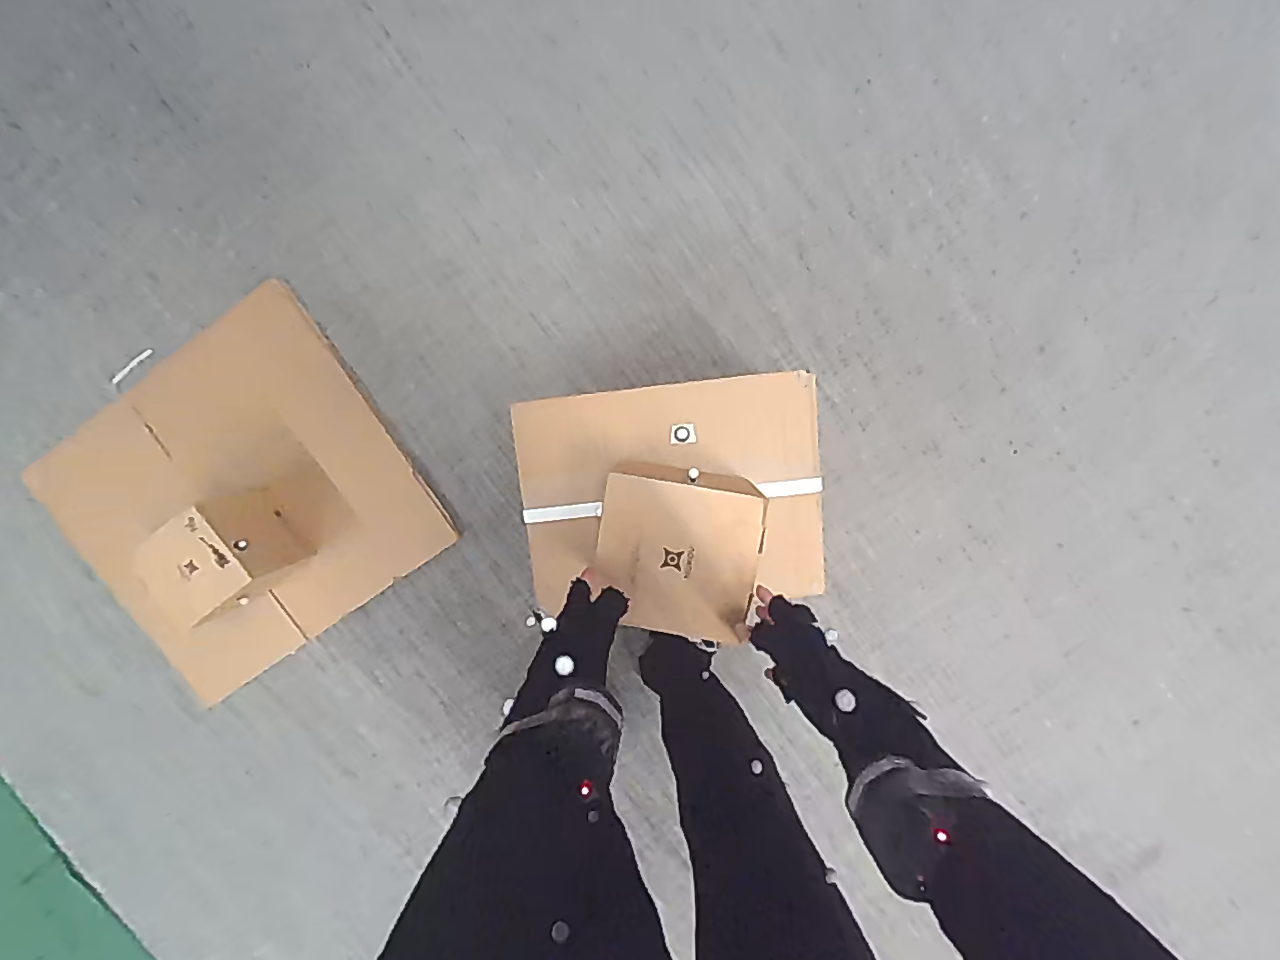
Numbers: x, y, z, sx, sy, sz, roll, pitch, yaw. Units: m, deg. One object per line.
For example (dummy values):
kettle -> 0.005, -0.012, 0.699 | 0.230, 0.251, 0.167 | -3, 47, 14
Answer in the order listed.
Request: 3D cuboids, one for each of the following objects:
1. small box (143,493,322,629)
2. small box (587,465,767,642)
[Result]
small box -> -0.759, 0.144, 1.026 | 0.179, 0.176, 0.168 | -38, 92, 9
small box -> 0.043, 0.077, 0.667 | 0.179, 0.176, 0.168 | 9, 97, 3
